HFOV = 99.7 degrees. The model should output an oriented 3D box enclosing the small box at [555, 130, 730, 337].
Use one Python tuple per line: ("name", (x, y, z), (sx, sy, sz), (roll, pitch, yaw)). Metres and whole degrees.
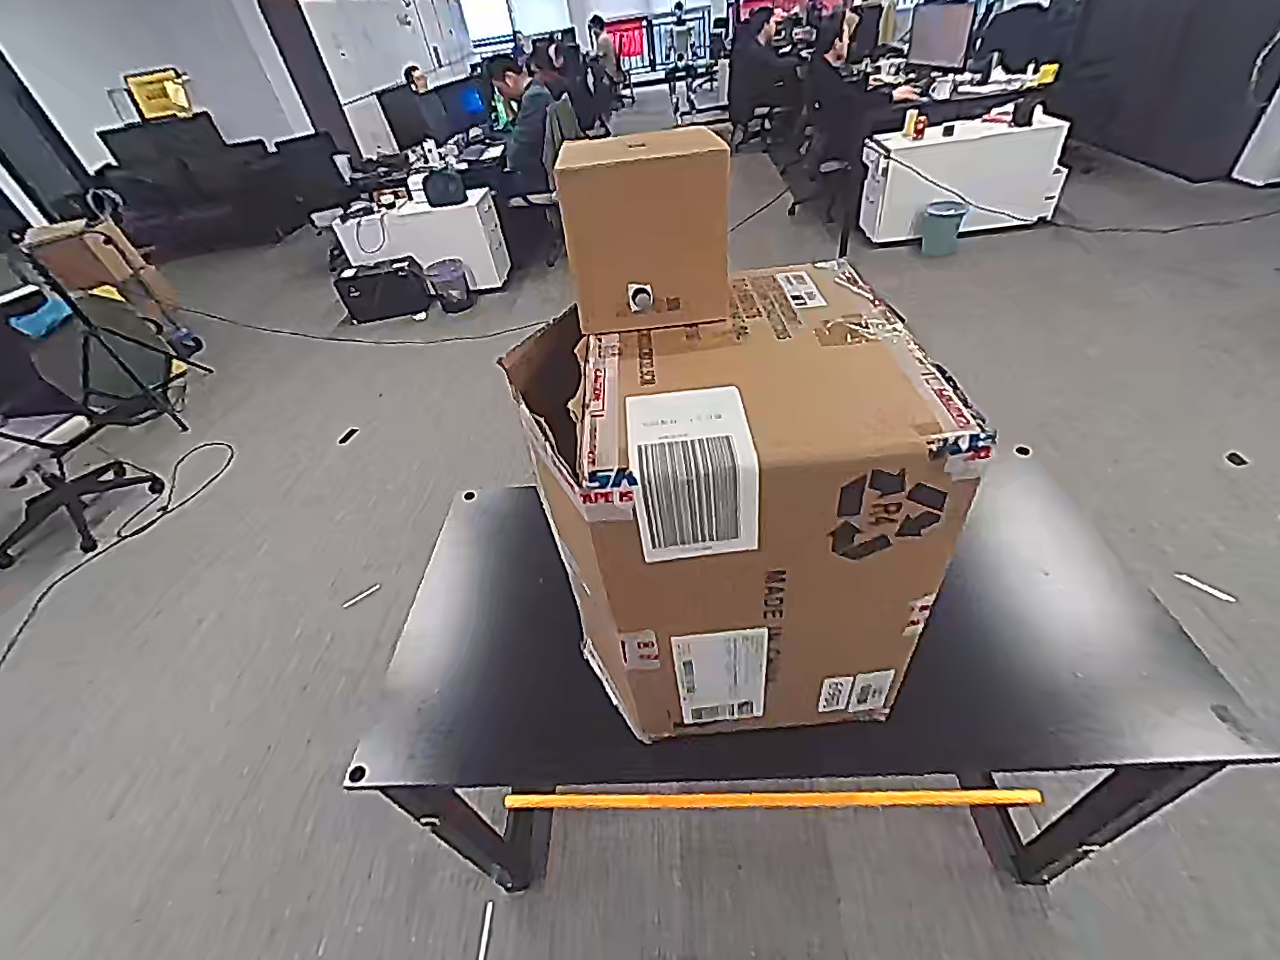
("small box", (0.005, -0.280, 0.614), (0.168, 0.176, 0.179), (-8, 40, 1))
